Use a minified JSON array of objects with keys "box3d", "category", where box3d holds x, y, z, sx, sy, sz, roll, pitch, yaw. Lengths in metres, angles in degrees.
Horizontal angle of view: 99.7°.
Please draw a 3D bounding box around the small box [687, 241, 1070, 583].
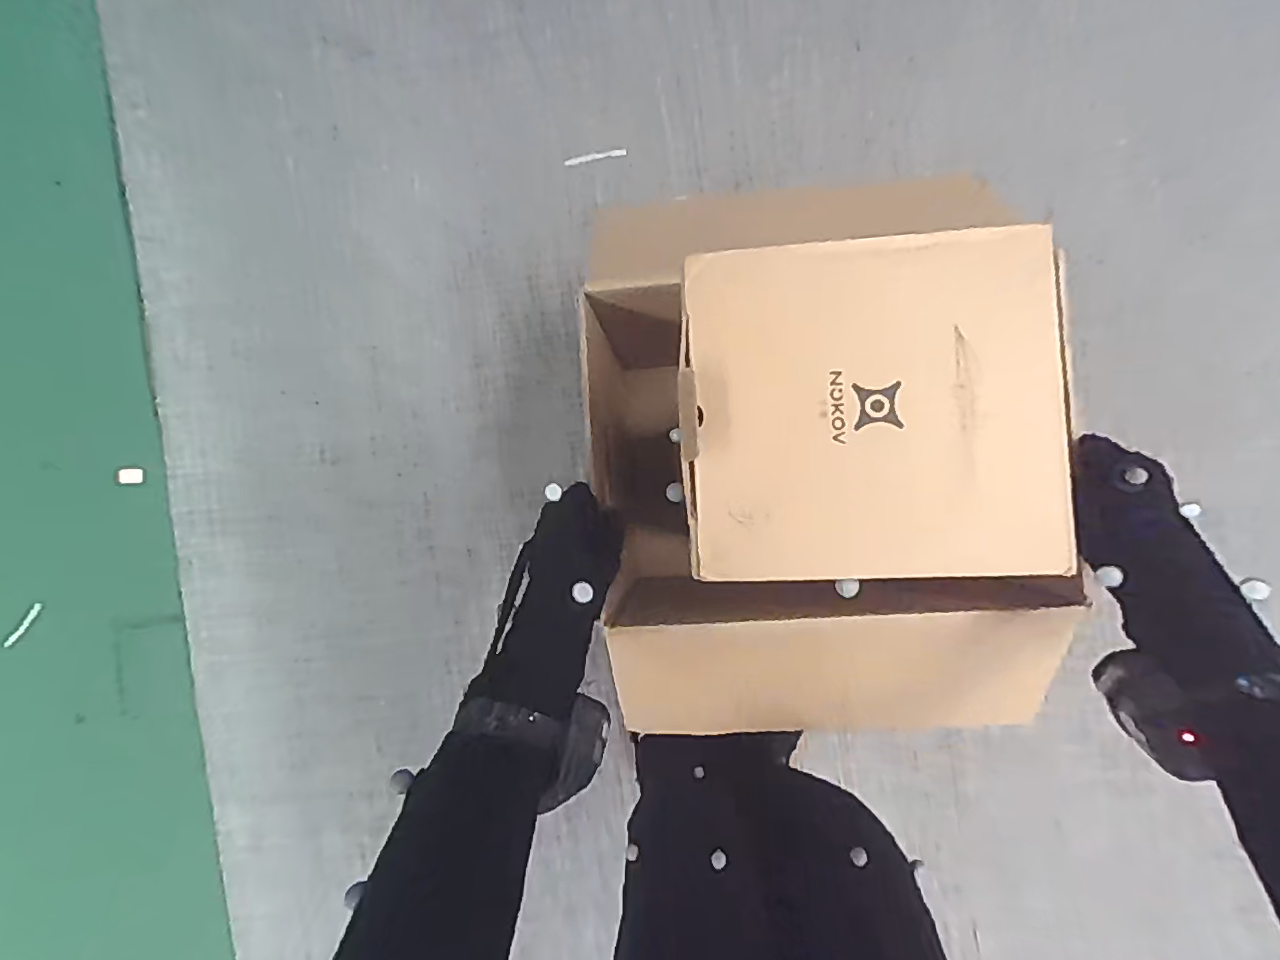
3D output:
[{"box3d":[0.124,-0.029,0.350,0.179,0.176,0.168,-4,88,4],"category":"small box"}]
